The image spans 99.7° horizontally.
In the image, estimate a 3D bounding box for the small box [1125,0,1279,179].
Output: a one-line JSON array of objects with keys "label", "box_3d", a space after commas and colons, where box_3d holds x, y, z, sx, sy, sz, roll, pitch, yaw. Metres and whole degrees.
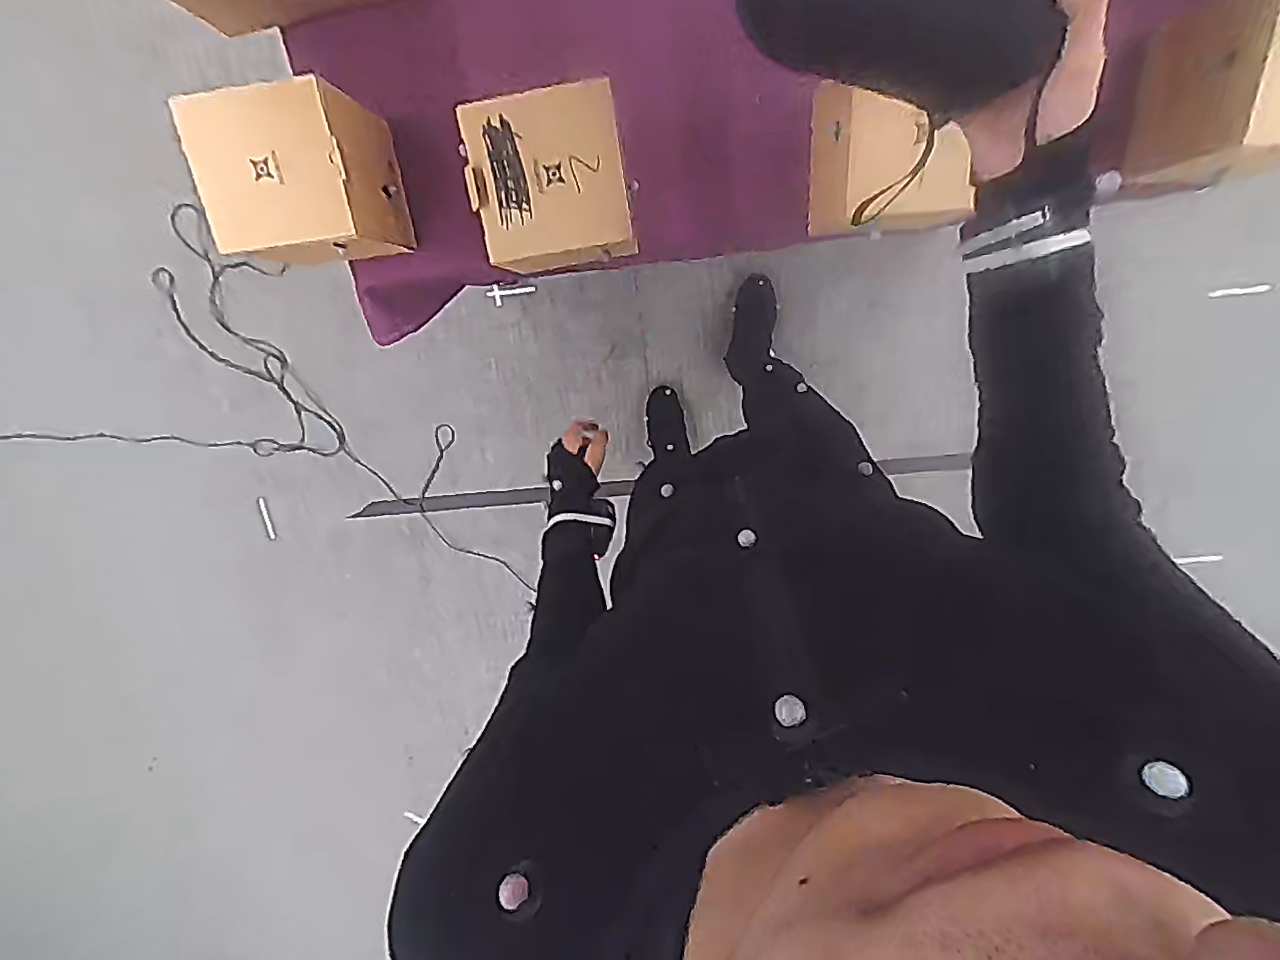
[{"label": "small box", "box_3d": [0.722, -0.466, 0.625, 0.168, 0.176, 0.179, 0, 108, 3]}]

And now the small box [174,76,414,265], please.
[{"label": "small box", "box_3d": [-0.424, -0.380, 0.695, 0.179, 0.176, 0.168, -7, 107, 3]}]

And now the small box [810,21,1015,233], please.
[{"label": "small box", "box_3d": [0.312, -0.411, 0.660, 0.168, 0.176, 0.179, -2, 108, 3]}]
